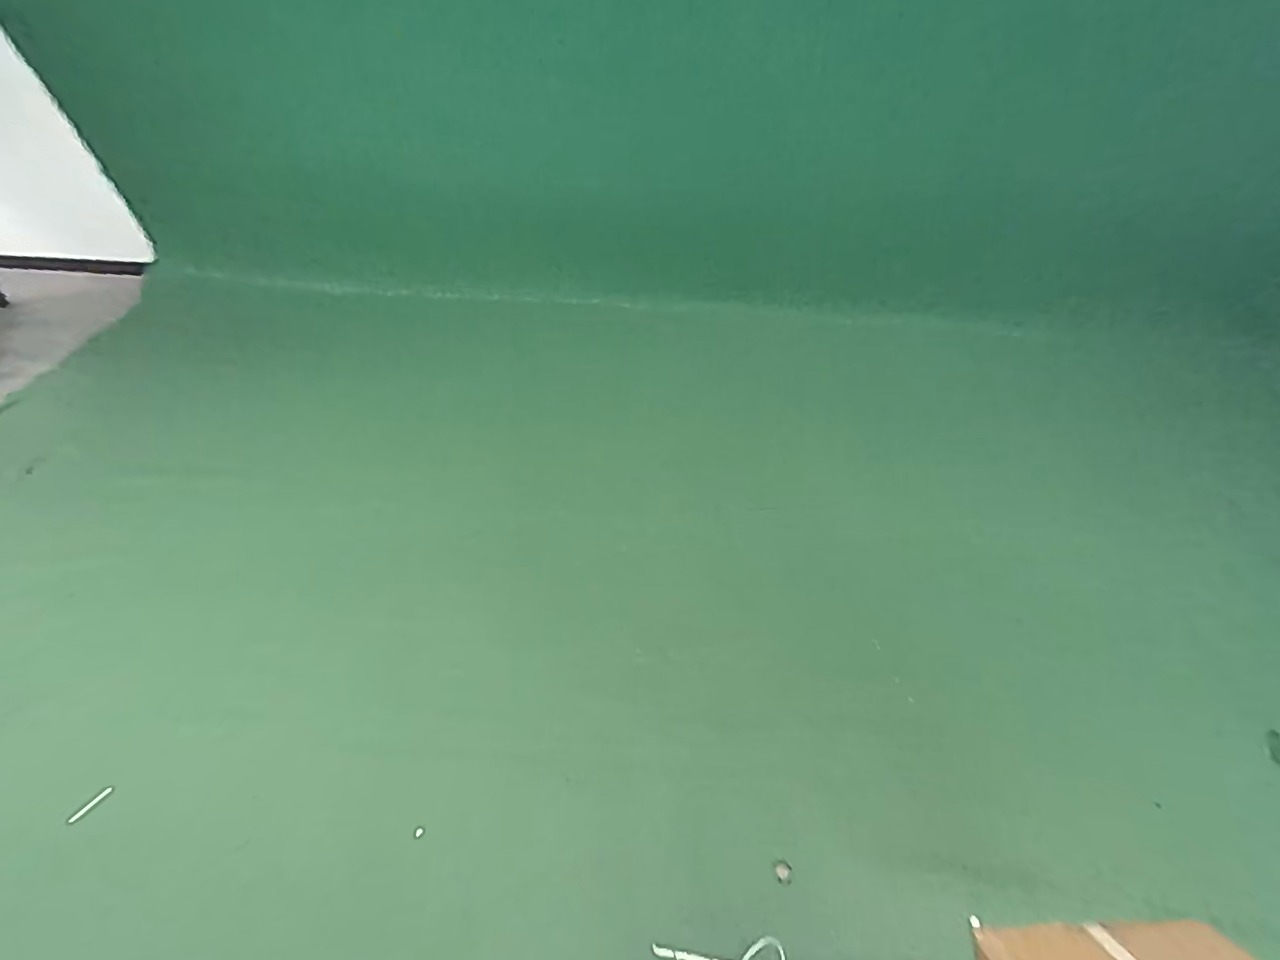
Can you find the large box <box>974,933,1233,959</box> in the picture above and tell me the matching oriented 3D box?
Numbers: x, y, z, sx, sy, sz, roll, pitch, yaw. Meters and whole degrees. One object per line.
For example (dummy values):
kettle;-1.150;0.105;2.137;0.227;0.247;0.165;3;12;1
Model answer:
large box;0.615;0.758;0.529;0.320;0.408;0.320;-4;83;3
